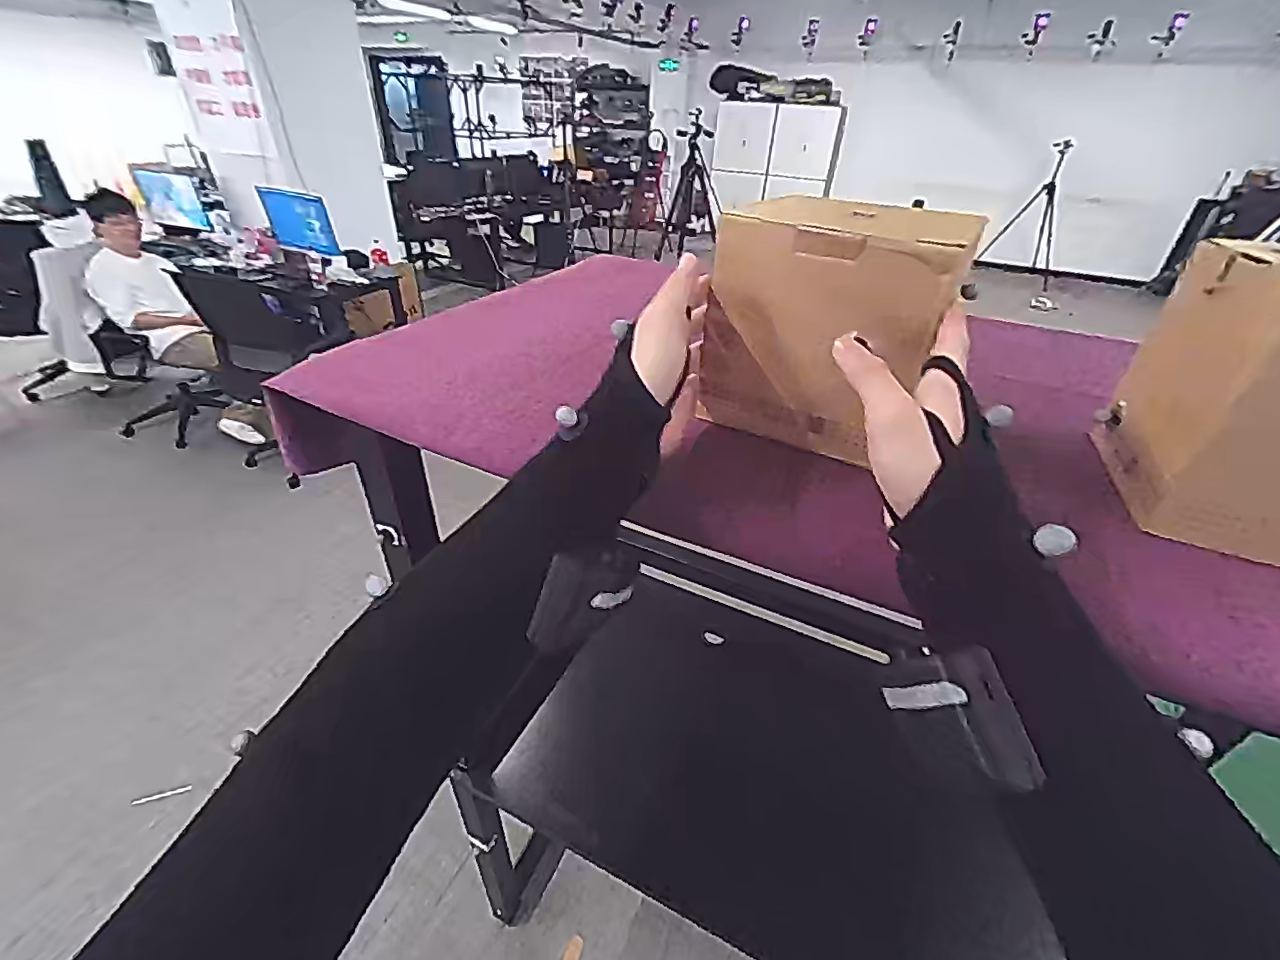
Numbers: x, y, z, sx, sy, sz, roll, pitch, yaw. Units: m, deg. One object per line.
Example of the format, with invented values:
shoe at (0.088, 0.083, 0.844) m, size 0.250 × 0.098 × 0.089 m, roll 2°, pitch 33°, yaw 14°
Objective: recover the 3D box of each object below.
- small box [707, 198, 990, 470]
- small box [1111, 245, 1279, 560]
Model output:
small box at (0.167, -0.131, 0.459) m, size 0.168 × 0.176 × 0.179 m, roll 22°, pitch 38°, yaw 25°
small box at (0.455, -0.044, 0.352) m, size 0.179 × 0.176 × 0.168 m, roll 18°, pitch 36°, yaw 19°
